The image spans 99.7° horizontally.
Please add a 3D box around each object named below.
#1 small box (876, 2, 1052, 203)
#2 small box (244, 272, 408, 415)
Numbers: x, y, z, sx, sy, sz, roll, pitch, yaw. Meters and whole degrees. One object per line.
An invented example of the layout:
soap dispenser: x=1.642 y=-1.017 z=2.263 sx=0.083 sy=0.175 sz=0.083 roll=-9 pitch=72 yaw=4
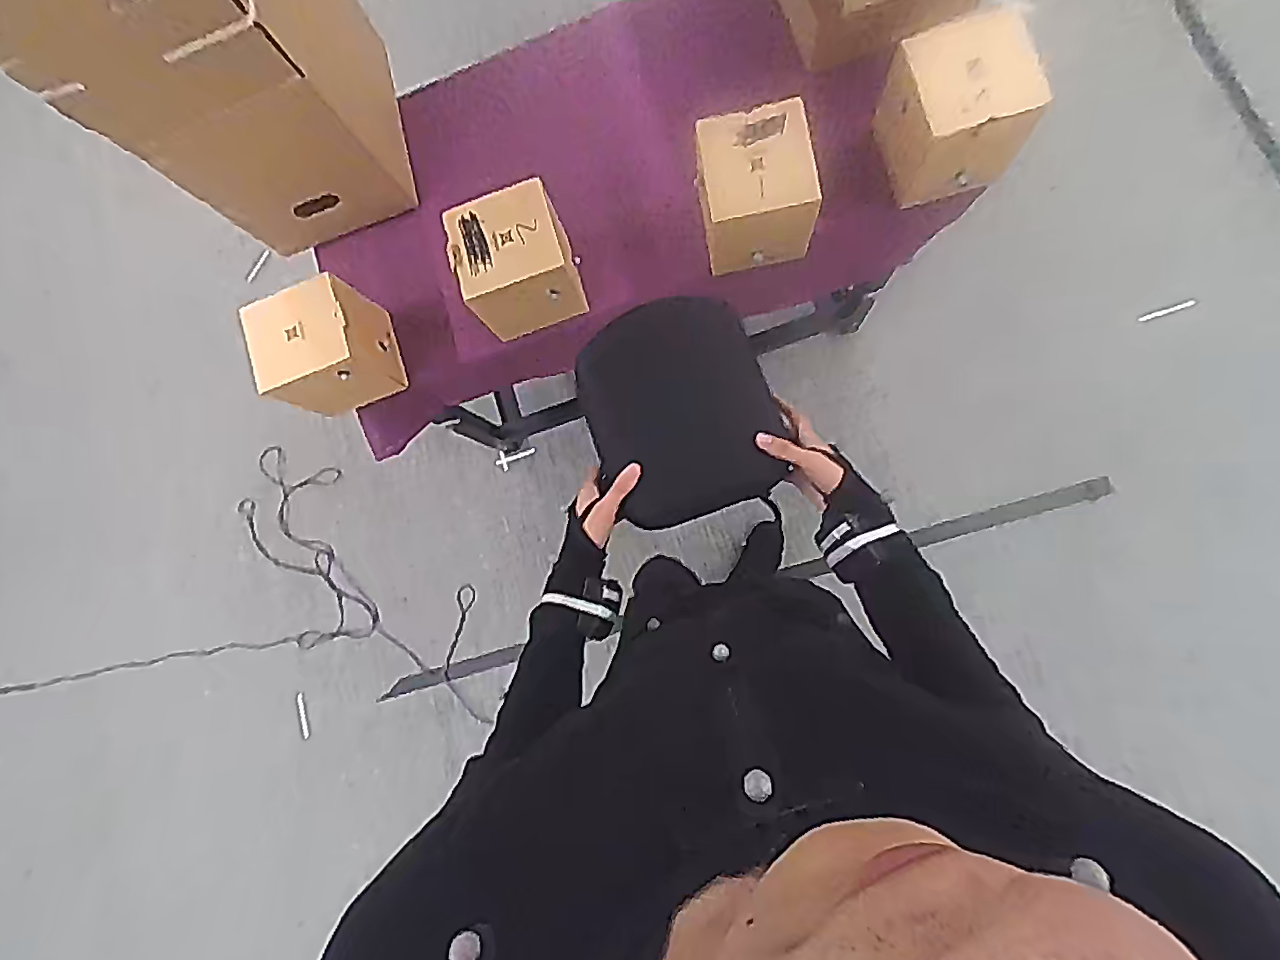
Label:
small box: x=0.497 y=-0.586 z=0.861 sx=0.168 sy=0.176 sz=0.179 roll=-13 pitch=81 yaw=8
small box: x=-0.560 y=-0.235 z=0.980 sx=0.179 sy=0.176 sz=0.168 roll=-21 pitch=80 yaw=4
